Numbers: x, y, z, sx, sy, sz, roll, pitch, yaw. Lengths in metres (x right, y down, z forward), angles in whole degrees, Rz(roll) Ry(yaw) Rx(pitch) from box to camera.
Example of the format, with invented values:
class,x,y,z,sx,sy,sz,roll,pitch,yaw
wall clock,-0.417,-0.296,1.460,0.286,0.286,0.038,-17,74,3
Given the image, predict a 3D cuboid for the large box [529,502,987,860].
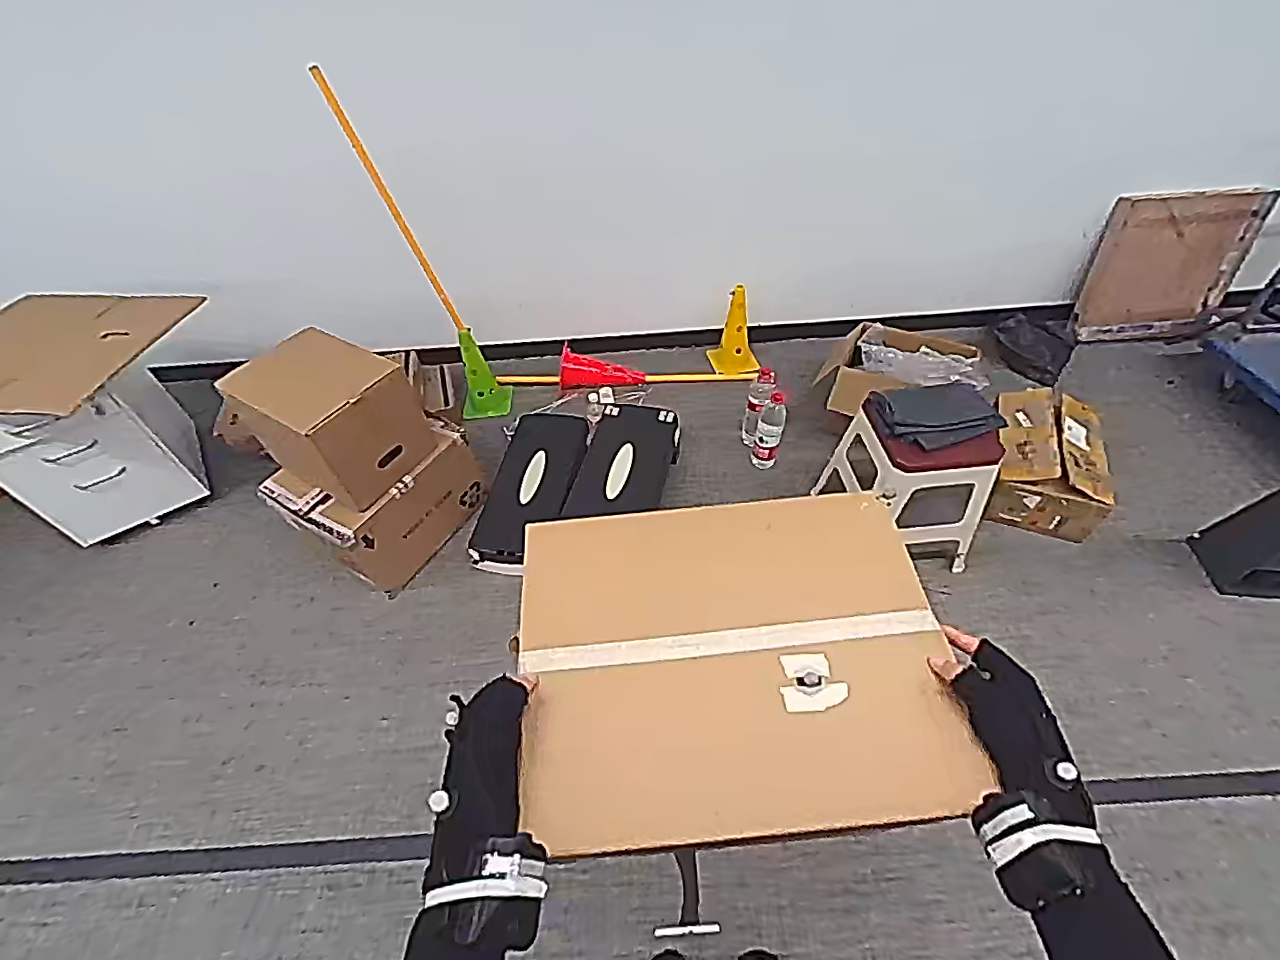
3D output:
class,x,y,z,sx,sy,sz,roll,pitch,yaw
large box,0.094,0.256,0.664,0.408,0.320,0.320,-6,55,-1
